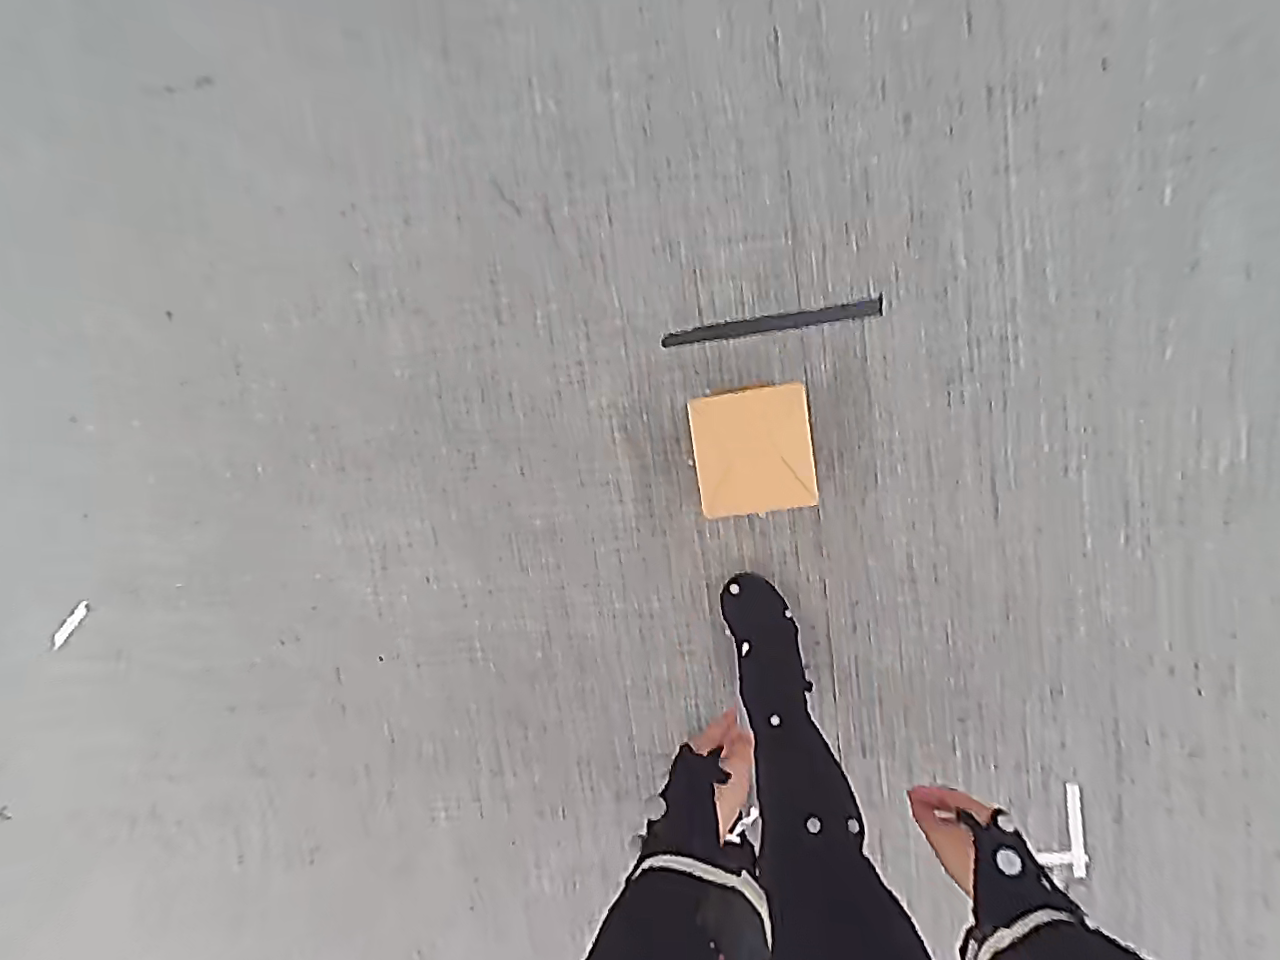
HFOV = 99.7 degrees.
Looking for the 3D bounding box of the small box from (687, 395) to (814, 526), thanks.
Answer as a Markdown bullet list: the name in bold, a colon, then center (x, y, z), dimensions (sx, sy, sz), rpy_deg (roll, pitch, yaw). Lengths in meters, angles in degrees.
- **small box**: center (0.168, -0.036, 0.853), dimensions (0.168, 0.176, 0.179), rpy_deg (-8, 95, 7)
